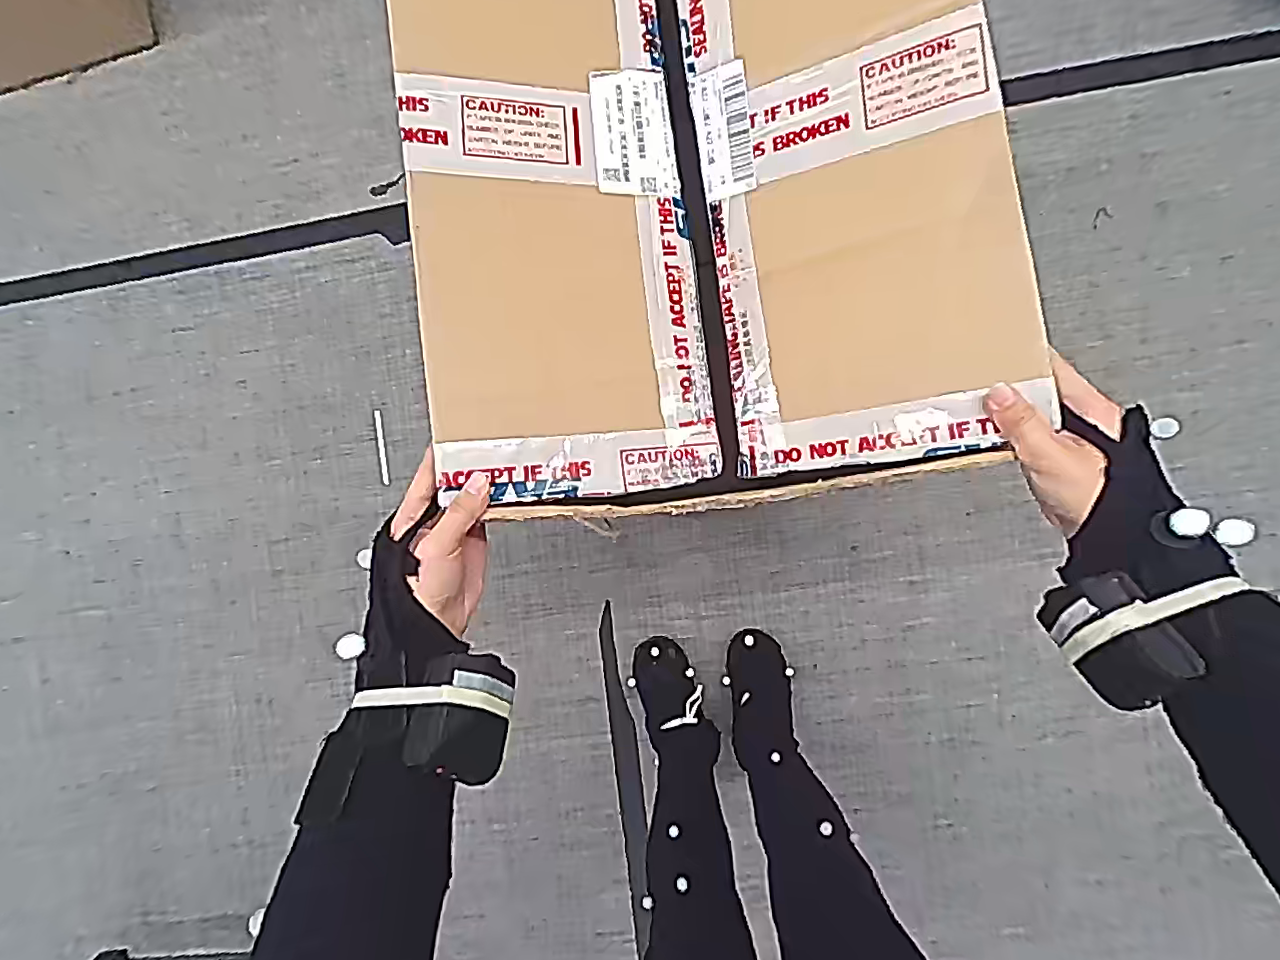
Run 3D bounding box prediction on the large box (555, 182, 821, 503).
[{"bbox_3d":[0.073,-0.190,0.890,0.320,0.320,0.408,-9,91,5],"label":"large box"}]
